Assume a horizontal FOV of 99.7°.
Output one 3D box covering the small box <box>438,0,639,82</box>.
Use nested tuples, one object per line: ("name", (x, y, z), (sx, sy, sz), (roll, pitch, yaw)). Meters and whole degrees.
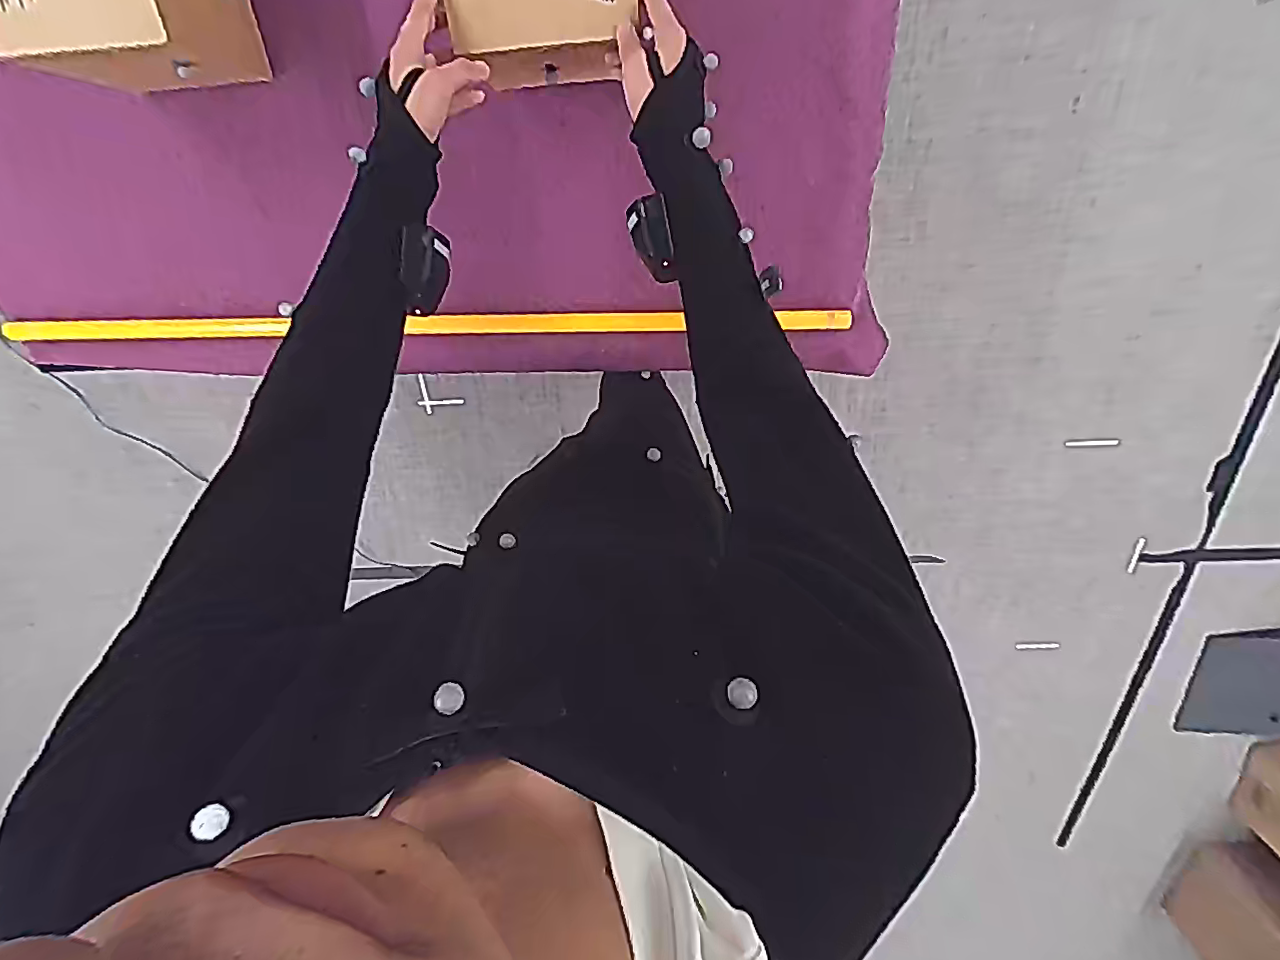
("small box", (-0.093, -0.502, 0.517), (0.179, 0.176, 0.168), (-4, 117, 3))

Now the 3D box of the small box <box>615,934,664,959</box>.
("small box", (-0.006, 1.856, 2.039), (0.179, 0.176, 0.168), (8, 117, -3))
